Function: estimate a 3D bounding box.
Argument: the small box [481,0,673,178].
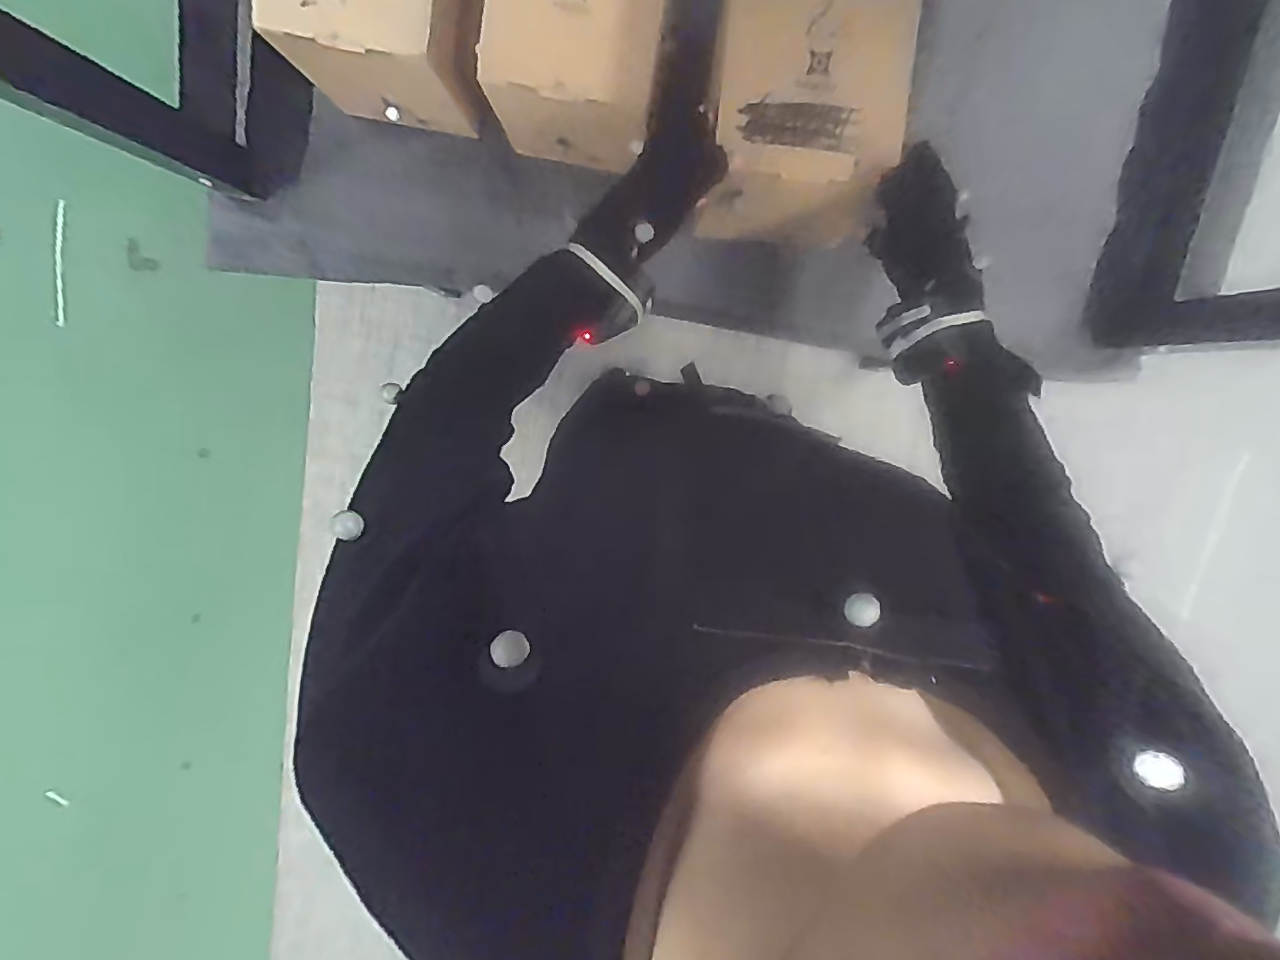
[{"bbox_3d":[-0.058,-0.460,0.581,0.168,0.176,0.179,10,101,-2],"label":"small box"}]

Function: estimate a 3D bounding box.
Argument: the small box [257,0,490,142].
[{"bbox_3d":[-0.262,-0.499,0.572,0.168,0.176,0.179,10,100,-2],"label":"small box"}]
